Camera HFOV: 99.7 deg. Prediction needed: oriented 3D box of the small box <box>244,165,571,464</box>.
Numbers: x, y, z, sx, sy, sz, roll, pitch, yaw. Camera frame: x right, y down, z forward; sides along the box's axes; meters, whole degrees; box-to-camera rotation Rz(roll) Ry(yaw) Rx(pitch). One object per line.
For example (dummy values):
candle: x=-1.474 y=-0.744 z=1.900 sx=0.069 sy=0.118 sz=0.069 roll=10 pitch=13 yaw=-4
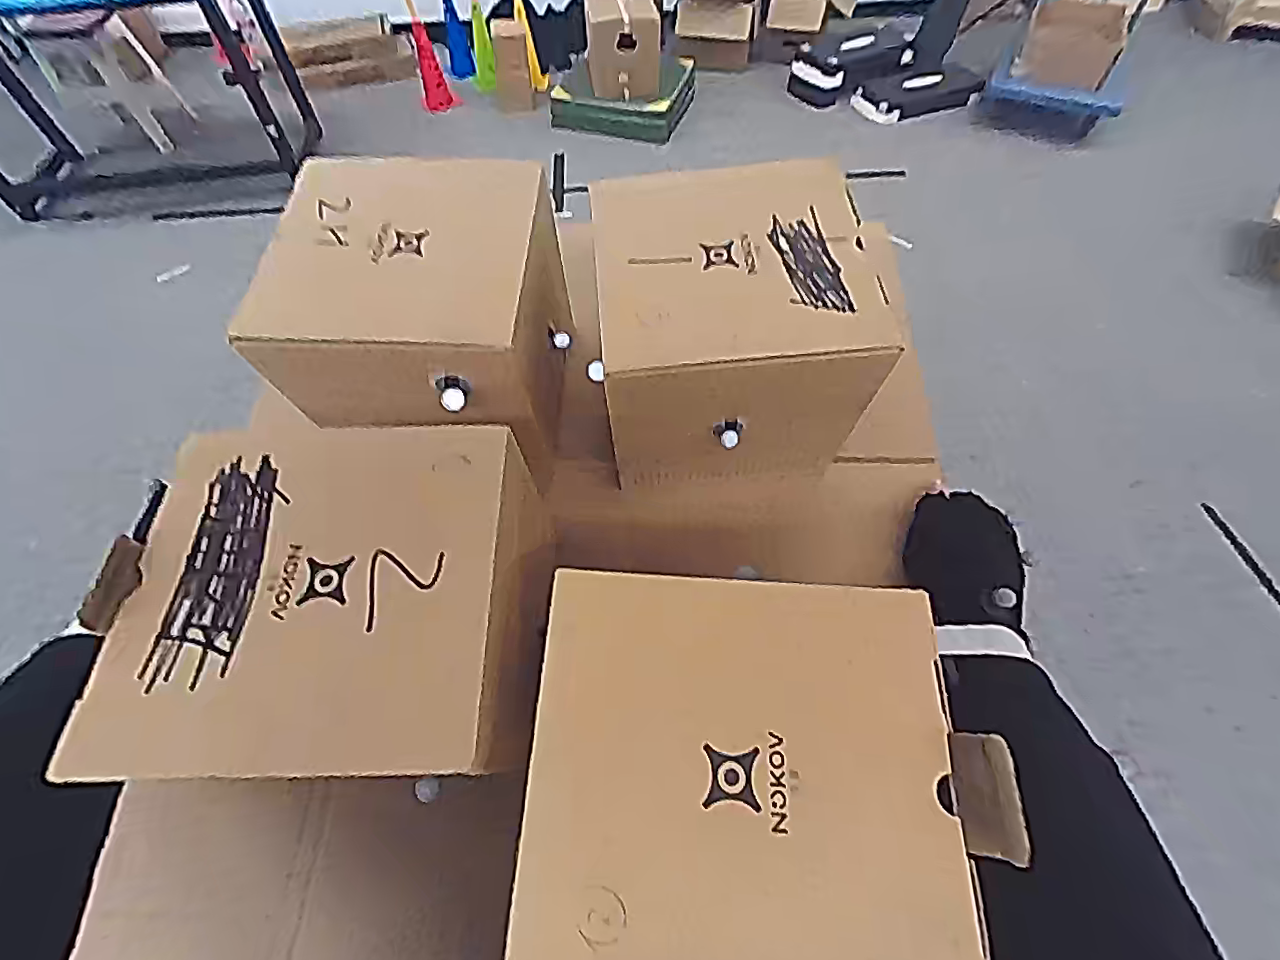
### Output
small box: x=-0.156 y=-0.122 z=0.440 sx=0.179 sy=0.176 sz=0.168 roll=2 pitch=64 yaw=3
